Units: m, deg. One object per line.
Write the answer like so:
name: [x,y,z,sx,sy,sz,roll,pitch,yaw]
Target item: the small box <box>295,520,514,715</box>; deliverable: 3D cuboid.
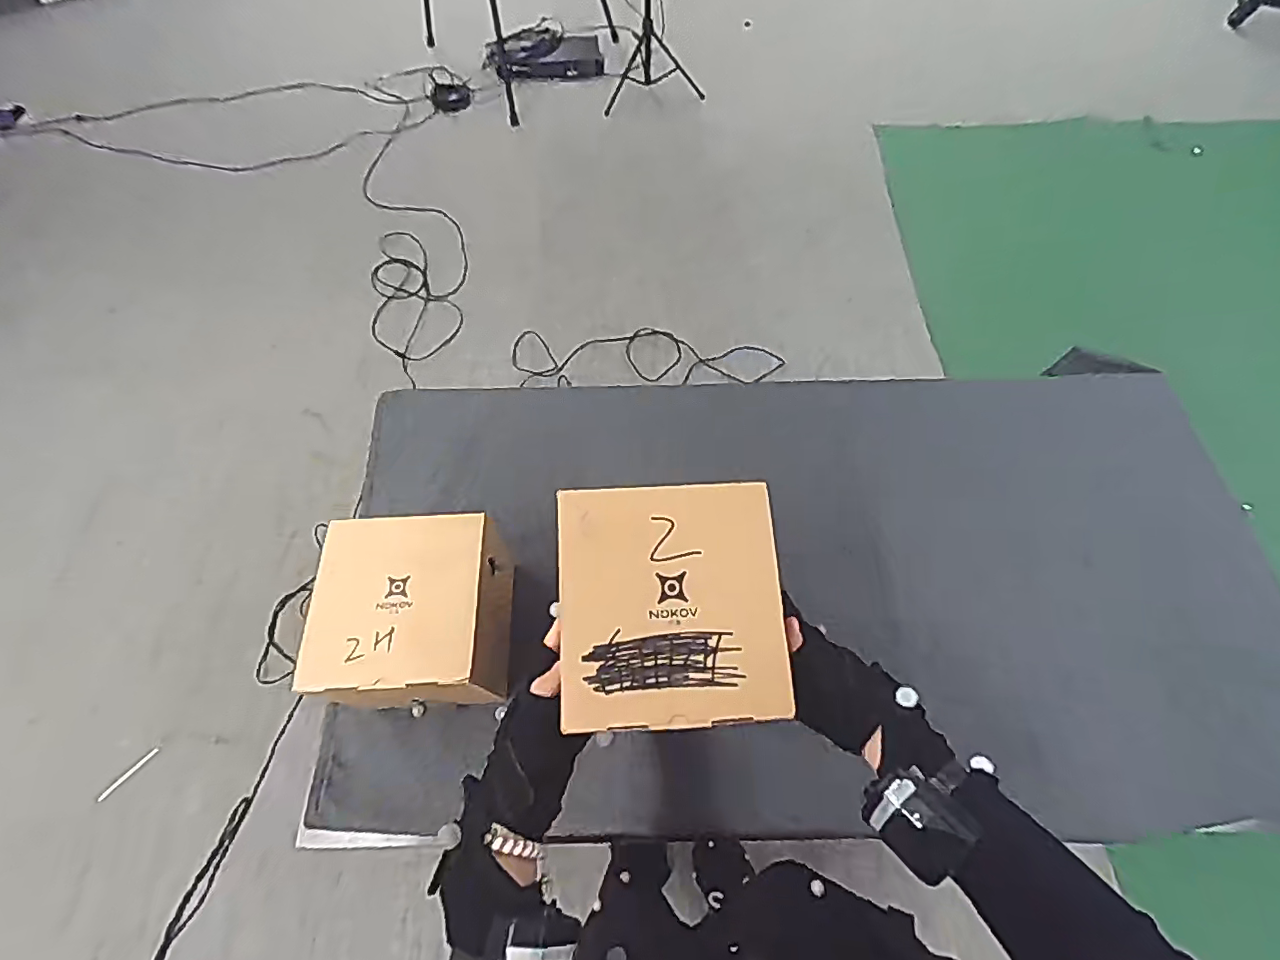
small box: [-0.241,0.158,0.607,0.168,0.176,0.179,-2,62,-2]
